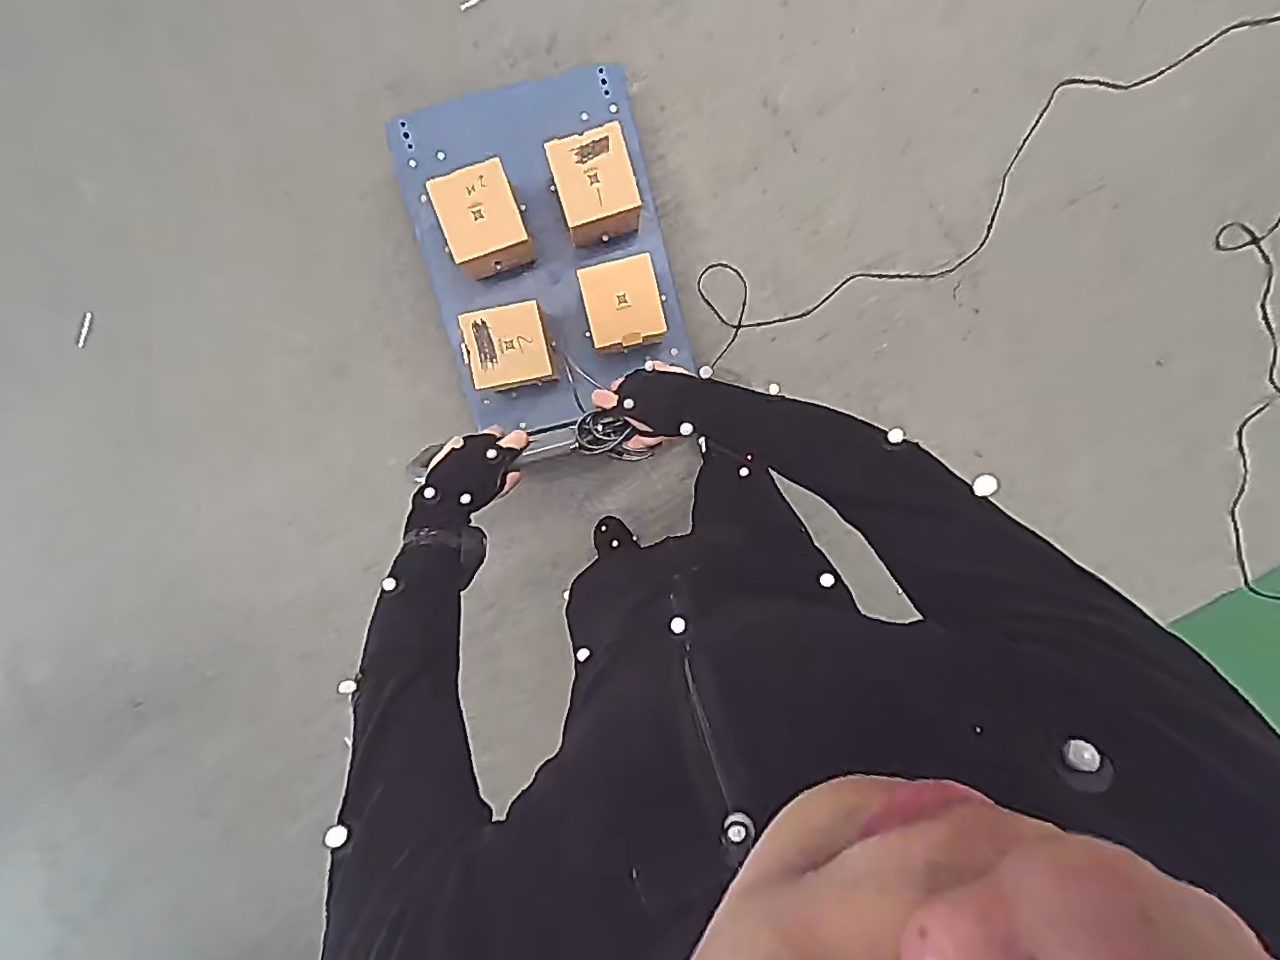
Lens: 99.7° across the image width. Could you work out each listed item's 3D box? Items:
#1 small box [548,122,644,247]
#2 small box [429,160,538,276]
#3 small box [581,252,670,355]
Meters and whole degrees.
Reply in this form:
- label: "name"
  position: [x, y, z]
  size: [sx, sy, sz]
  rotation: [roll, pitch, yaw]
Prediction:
- label: "small box"
  position: [-0.096, -0.654, 1.217]
  size: [0.168, 0.176, 0.179]
  rotation: [-17, 99, 1]
- label: "small box"
  position: [-0.341, -0.576, 1.220]
  size: [0.168, 0.176, 0.179]
  rotation: [-19, 98, 0]
- label: "small box"
  position: [-0.035, -0.402, 1.258]
  size: [0.168, 0.176, 0.179]
  rotation: [-15, 99, 0]
